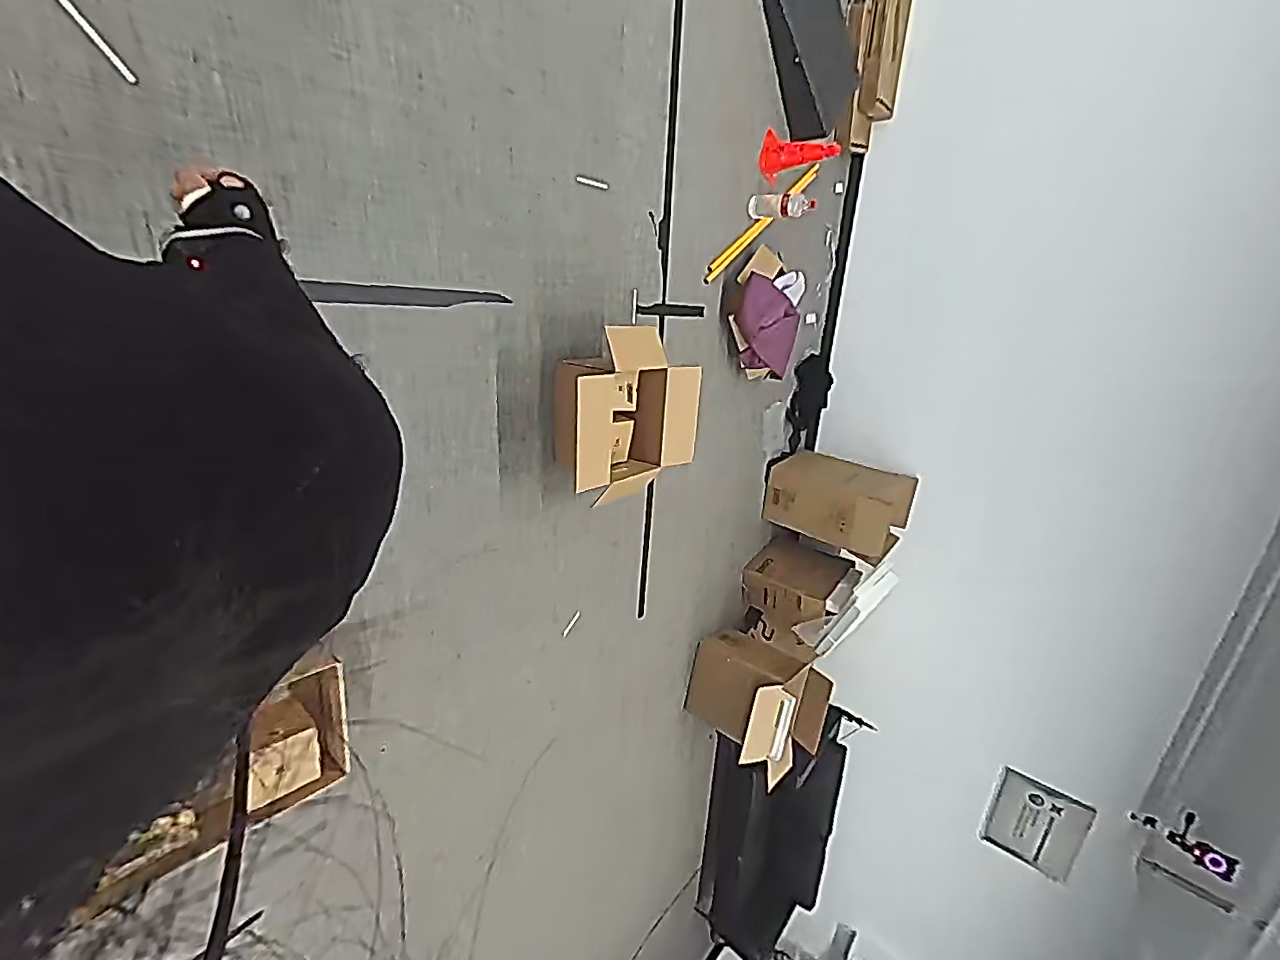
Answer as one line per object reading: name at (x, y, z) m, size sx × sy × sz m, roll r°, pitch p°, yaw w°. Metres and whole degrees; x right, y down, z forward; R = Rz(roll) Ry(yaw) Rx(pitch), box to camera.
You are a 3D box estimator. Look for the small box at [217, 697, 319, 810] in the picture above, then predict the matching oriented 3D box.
small box at (-0.975, 0.705, 1.419) m, size 0.179 × 0.176 × 0.168 m, roll -12°, pitch 112°, yaw -49°
